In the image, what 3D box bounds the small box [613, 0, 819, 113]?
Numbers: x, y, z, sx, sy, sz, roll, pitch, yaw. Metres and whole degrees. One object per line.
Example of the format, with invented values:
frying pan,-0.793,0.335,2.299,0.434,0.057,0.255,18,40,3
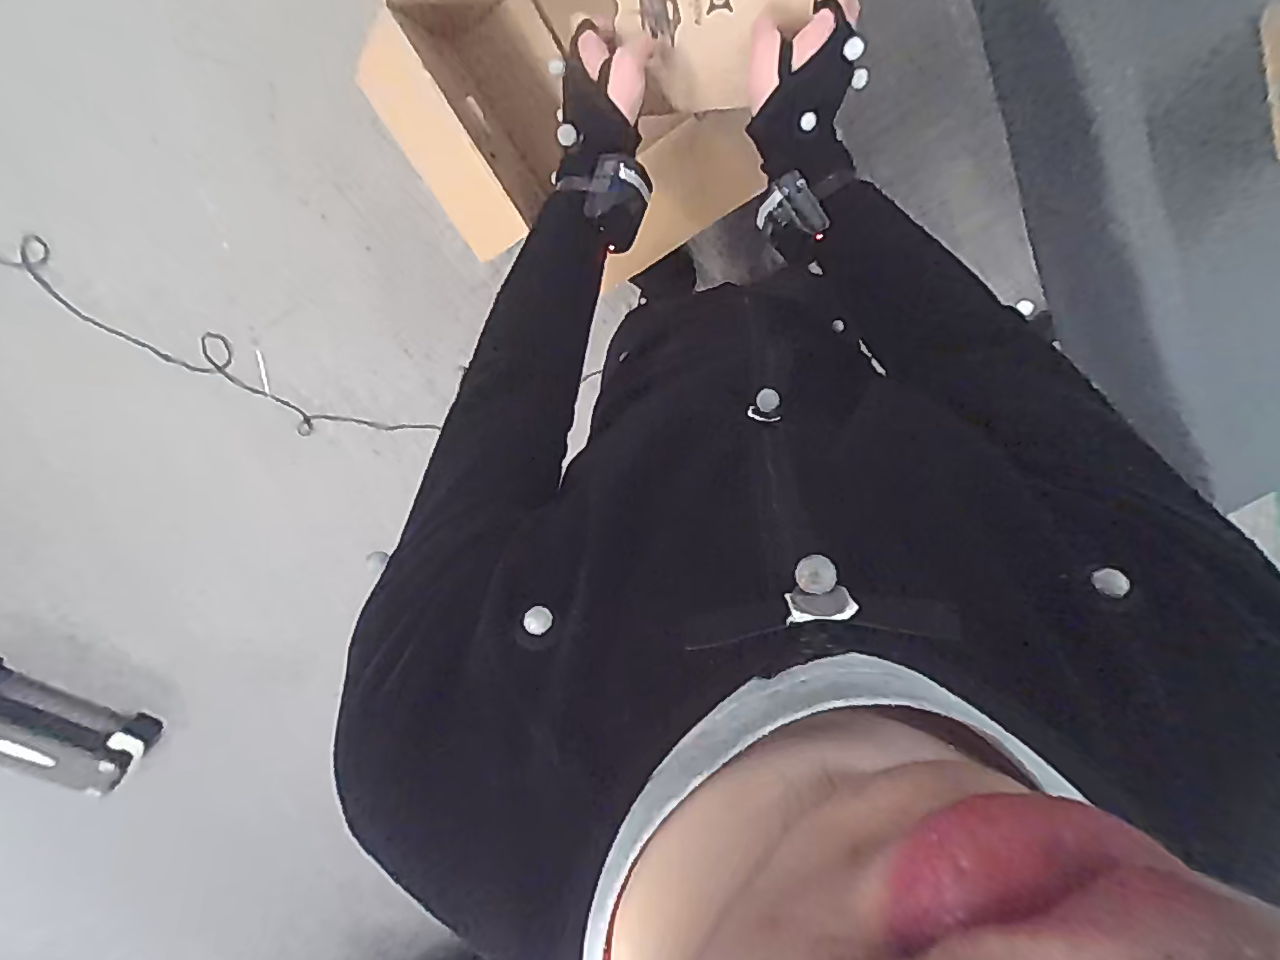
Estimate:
small box,0.074,-0.462,0.511,0.179,0.176,0.168,1,133,10
